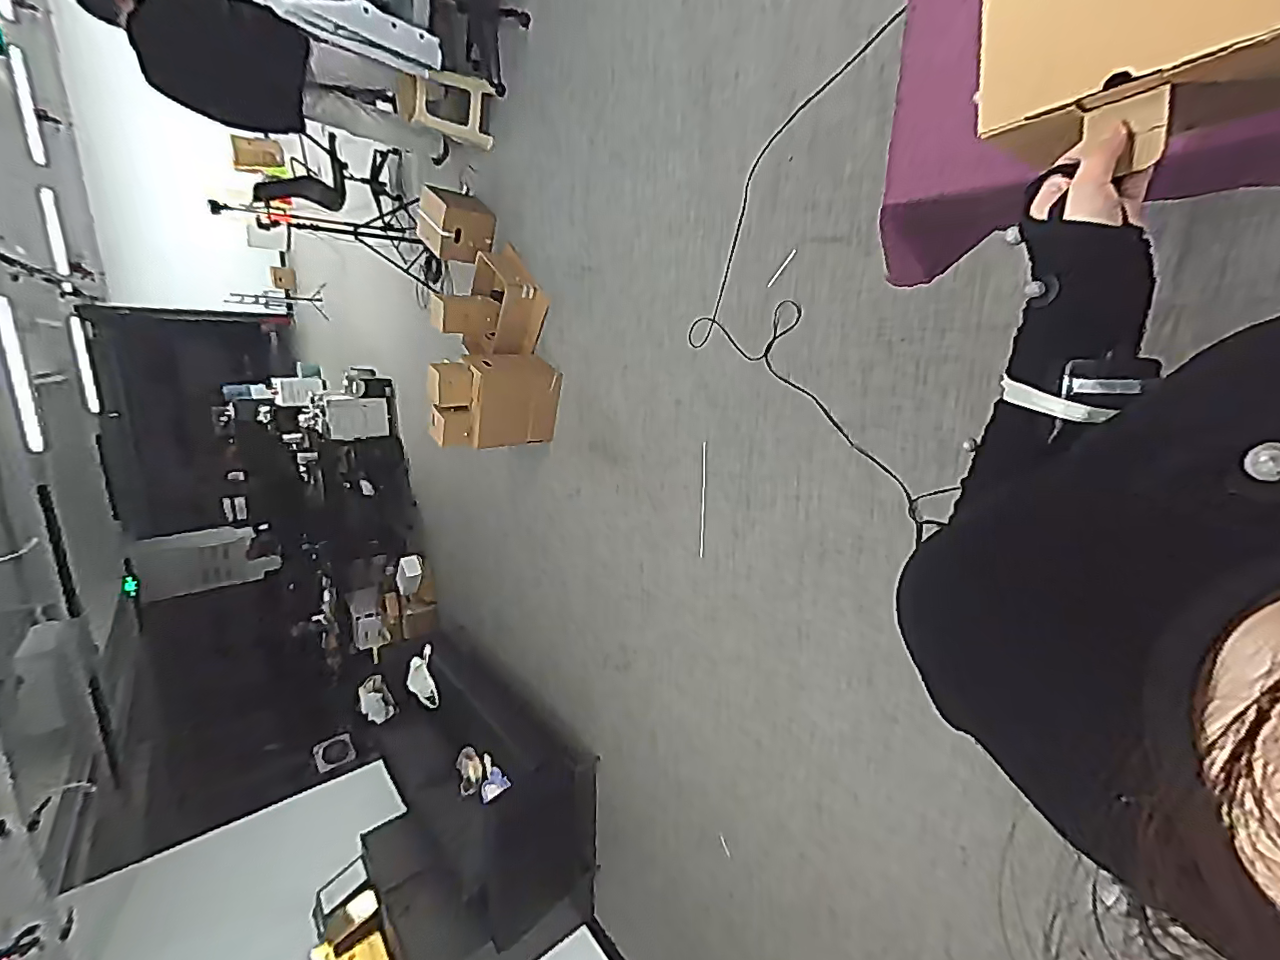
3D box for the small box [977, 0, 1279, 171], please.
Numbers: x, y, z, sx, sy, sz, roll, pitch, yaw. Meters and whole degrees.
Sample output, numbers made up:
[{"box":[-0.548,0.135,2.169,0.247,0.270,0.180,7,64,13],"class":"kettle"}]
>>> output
[{"box":[0.378,-0.362,0.405,0.168,0.176,0.179,9,108,50],"class":"small box"}]
